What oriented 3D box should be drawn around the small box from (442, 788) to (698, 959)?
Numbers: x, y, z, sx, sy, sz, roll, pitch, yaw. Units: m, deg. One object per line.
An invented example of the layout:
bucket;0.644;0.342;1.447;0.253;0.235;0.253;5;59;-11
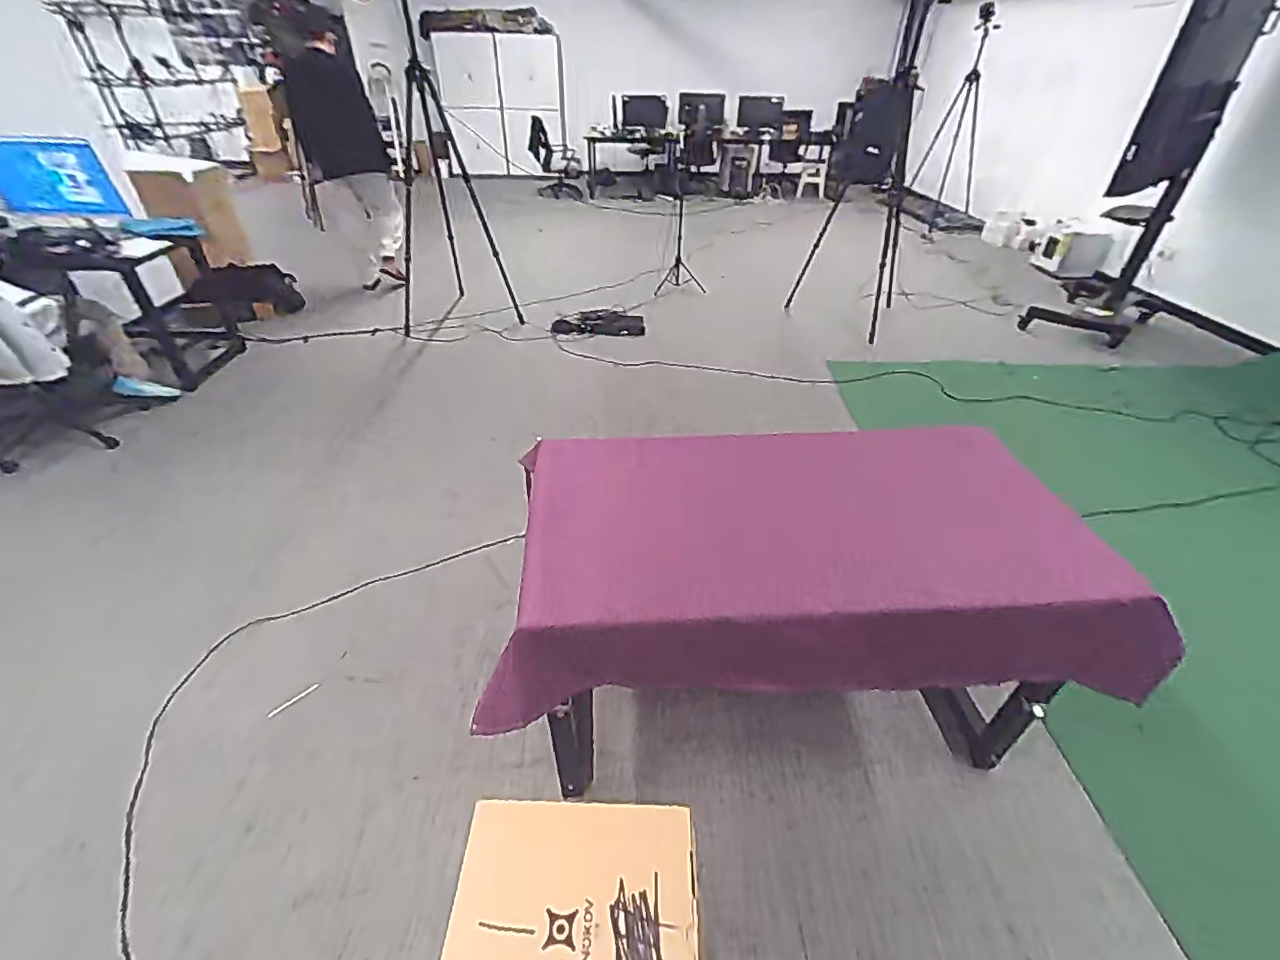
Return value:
small box;-0.049;0.371;0.432;0.179;0.176;0.168;2;39;0
